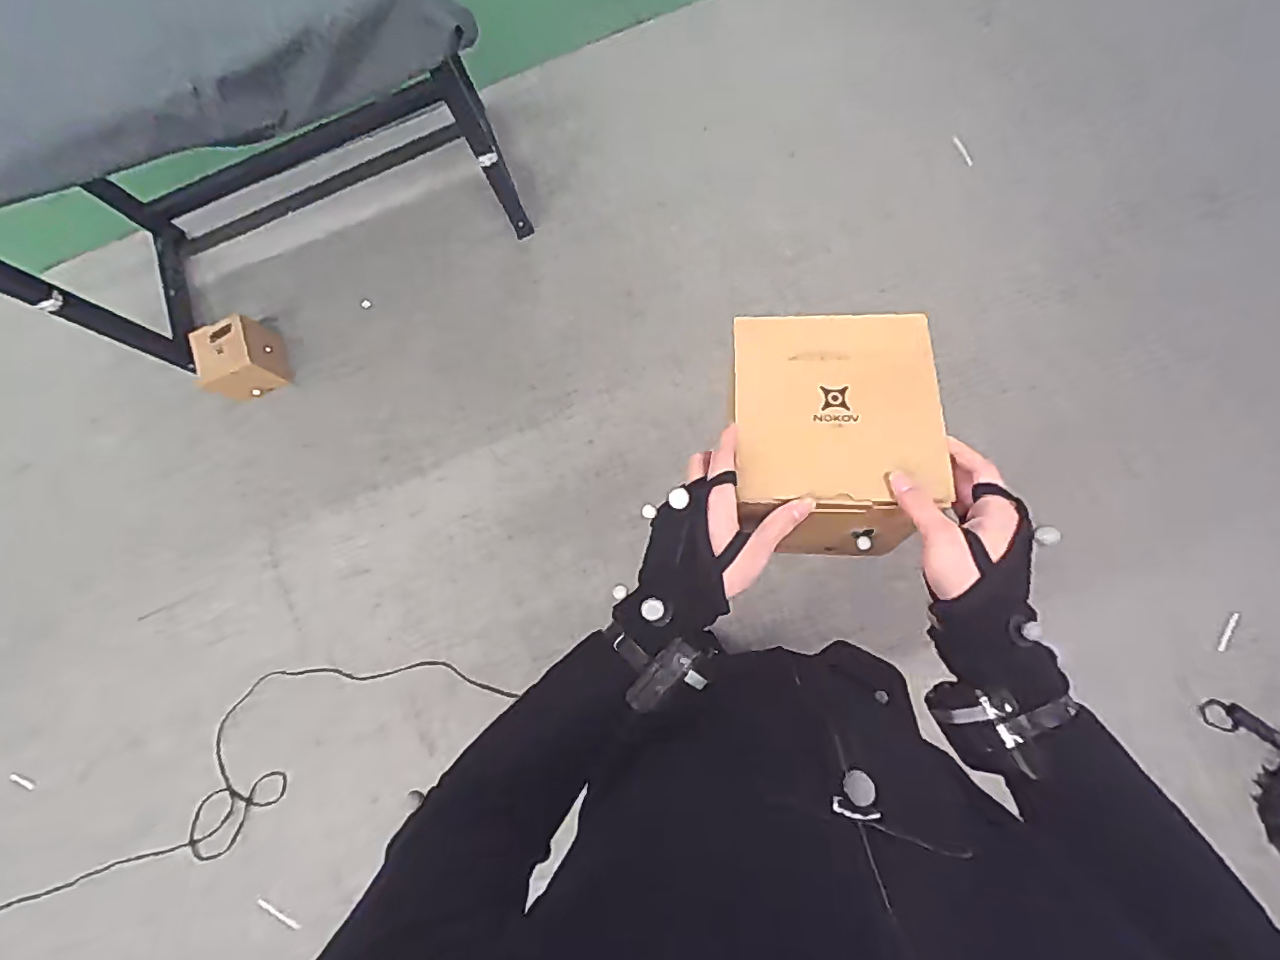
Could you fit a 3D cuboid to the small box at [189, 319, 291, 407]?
[{"bbox_3d":[-1.200,-0.345,1.630,0.168,0.176,0.179,-23,78,3],"label":"small box"}]
